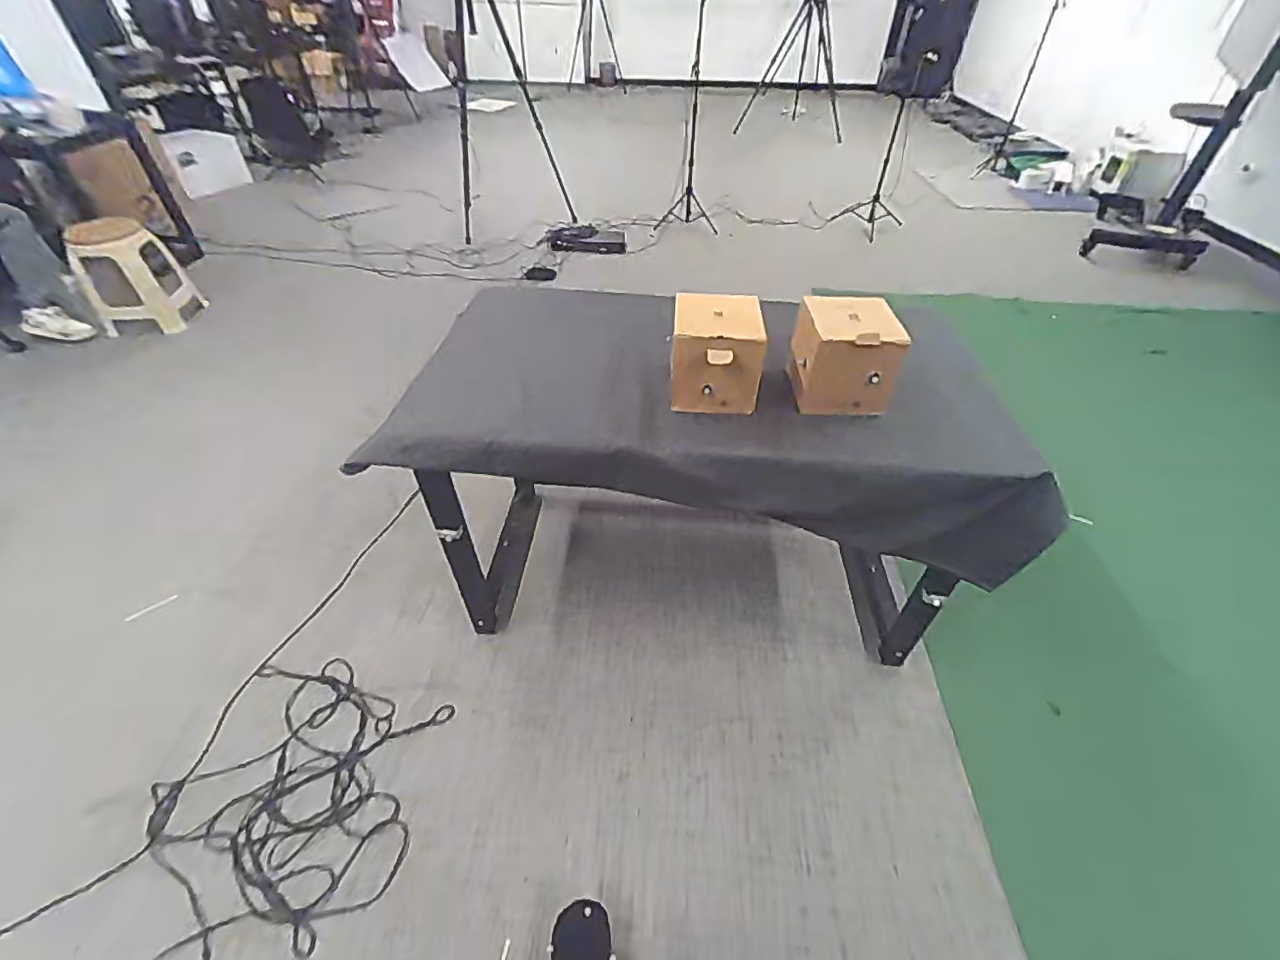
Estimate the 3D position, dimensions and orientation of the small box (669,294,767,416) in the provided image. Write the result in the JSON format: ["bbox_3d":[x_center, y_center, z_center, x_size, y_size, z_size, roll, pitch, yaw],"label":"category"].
[{"bbox_3d":[0.145,-0.247,1.066,0.168,0.176,0.179,3,43,2],"label":"small box"}]

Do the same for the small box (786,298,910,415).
[{"bbox_3d":[0.396,-0.241,1.065,0.168,0.176,0.179,2,42,-1],"label":"small box"}]
